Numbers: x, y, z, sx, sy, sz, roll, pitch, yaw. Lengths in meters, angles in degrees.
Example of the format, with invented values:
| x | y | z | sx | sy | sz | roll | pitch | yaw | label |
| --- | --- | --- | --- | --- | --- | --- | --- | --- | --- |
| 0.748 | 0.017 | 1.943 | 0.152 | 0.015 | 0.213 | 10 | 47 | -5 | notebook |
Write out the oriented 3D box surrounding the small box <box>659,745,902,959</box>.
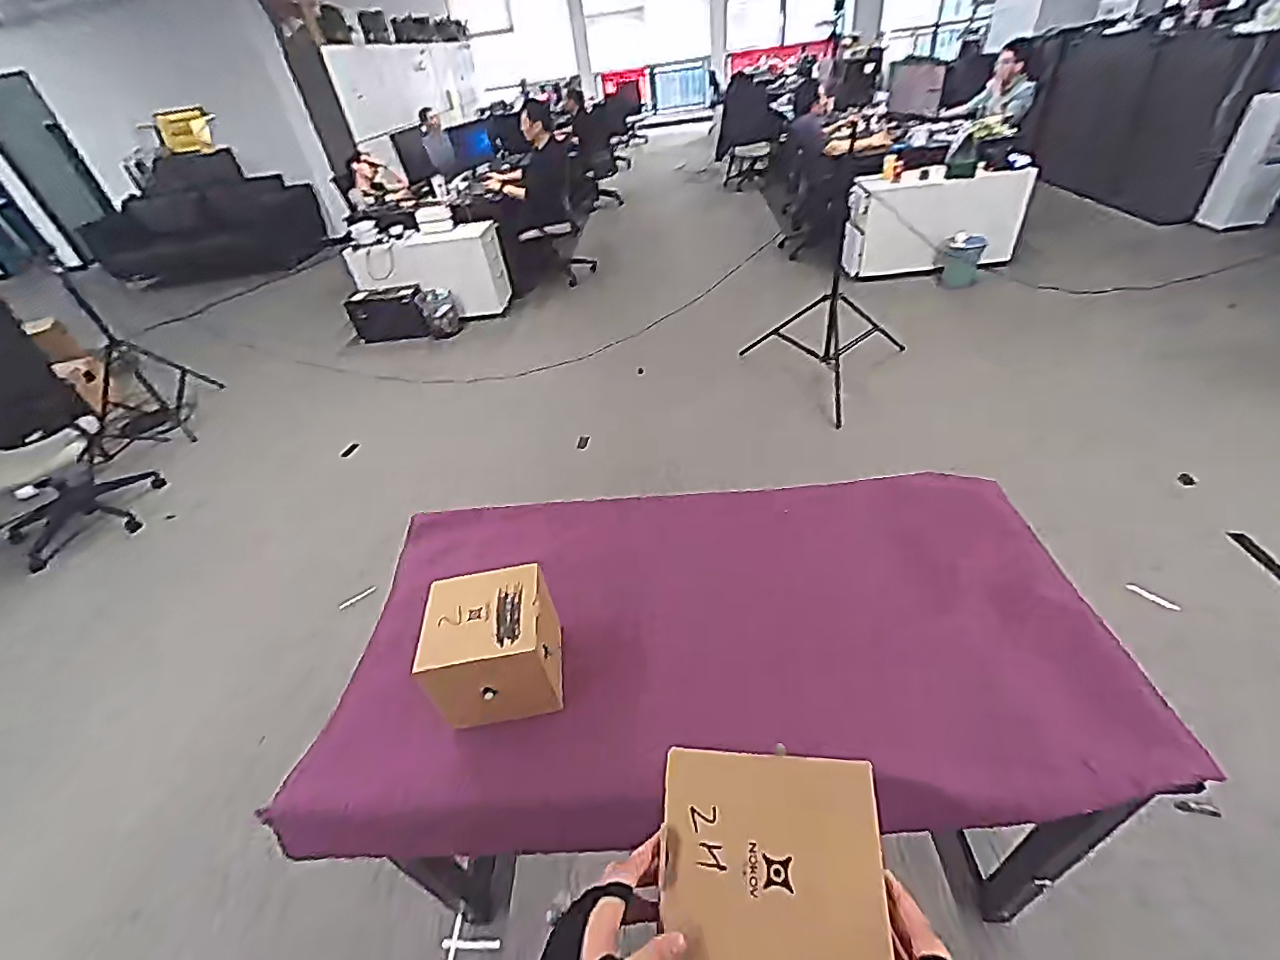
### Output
| x | y | z | sx | sy | sz | roll | pitch | yaw | label |
| --- | --- | --- | --- | --- | --- | --- | --- | --- | --- |
| 0.126 | 0.349 | 0.488 | 0.179 | 0.176 | 0.168 | -4 | 54 | 17 | small box |
